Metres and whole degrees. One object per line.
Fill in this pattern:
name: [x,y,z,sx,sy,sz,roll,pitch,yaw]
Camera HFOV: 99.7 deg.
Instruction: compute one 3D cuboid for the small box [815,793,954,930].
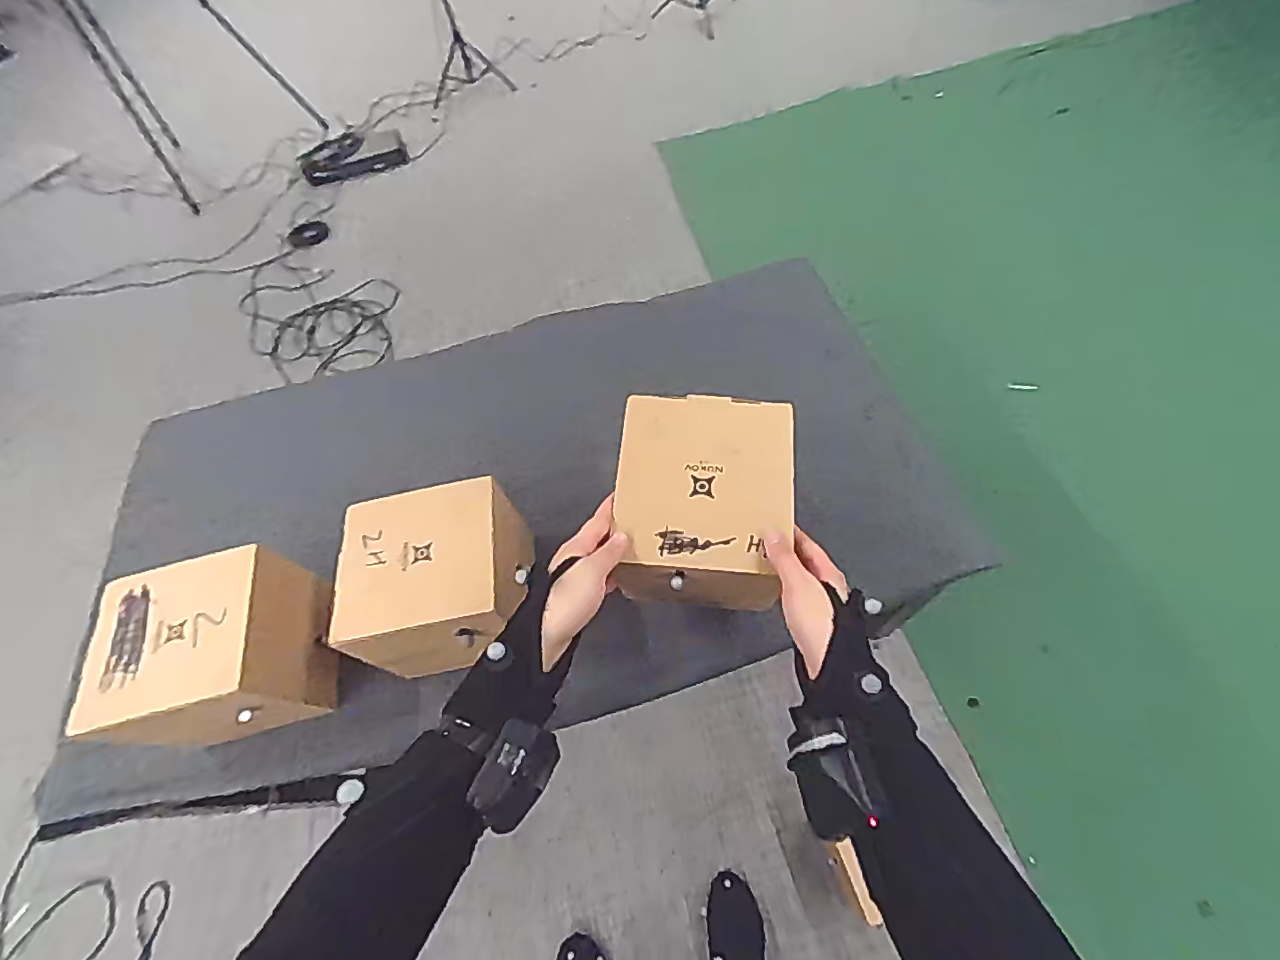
small box: [0.463,0.729,1.055,0.168,0.176,0.179,-18,59,-2]
